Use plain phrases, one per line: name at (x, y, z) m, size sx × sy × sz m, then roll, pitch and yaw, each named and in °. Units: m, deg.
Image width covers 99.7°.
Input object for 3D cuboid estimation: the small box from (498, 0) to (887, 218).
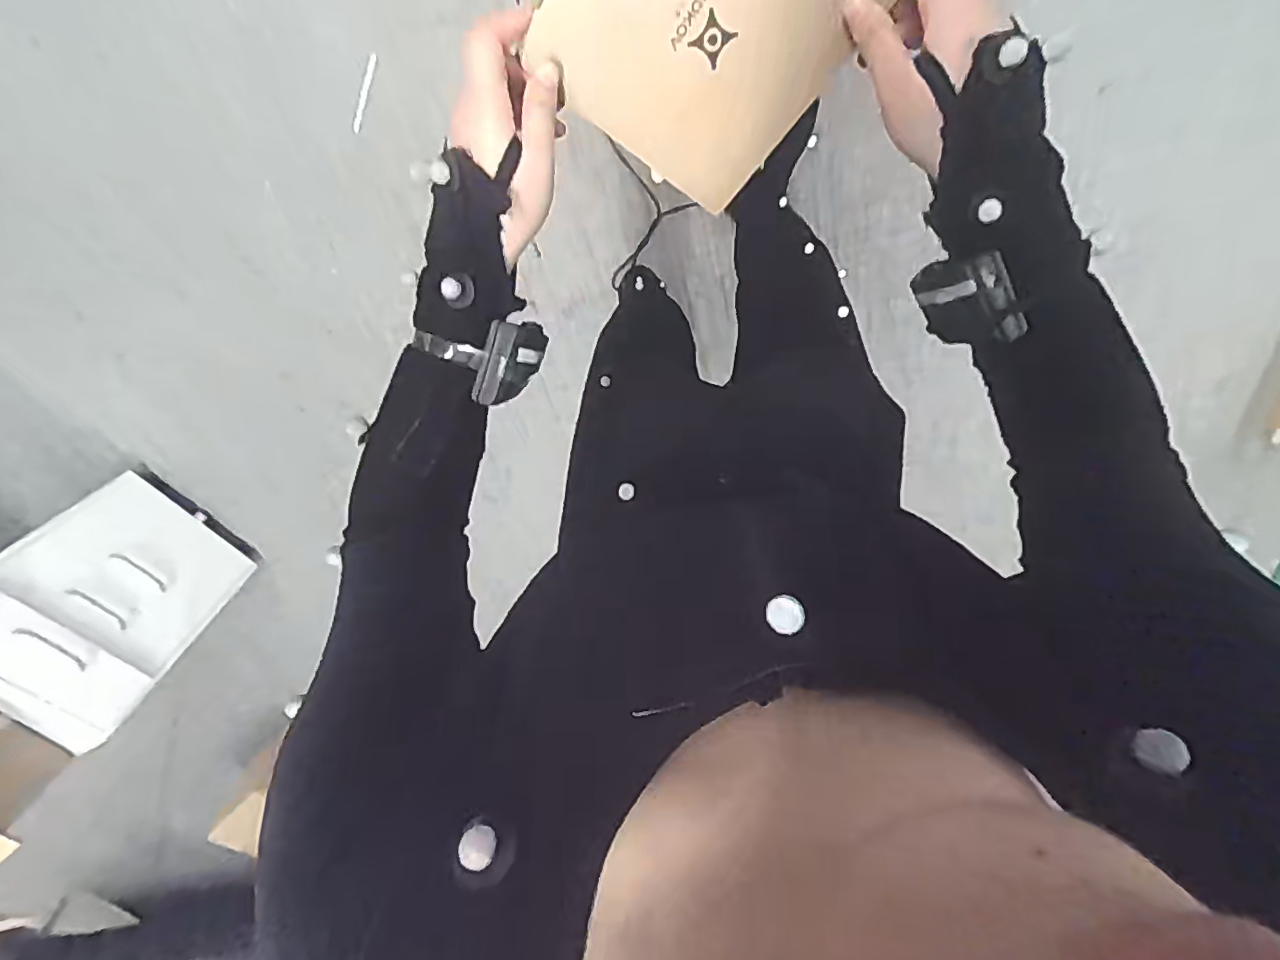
small box at (0.027, -0.331, 0.369) m, size 0.179 × 0.176 × 0.168 m, roll 23°, pitch 136°, yaw -29°
